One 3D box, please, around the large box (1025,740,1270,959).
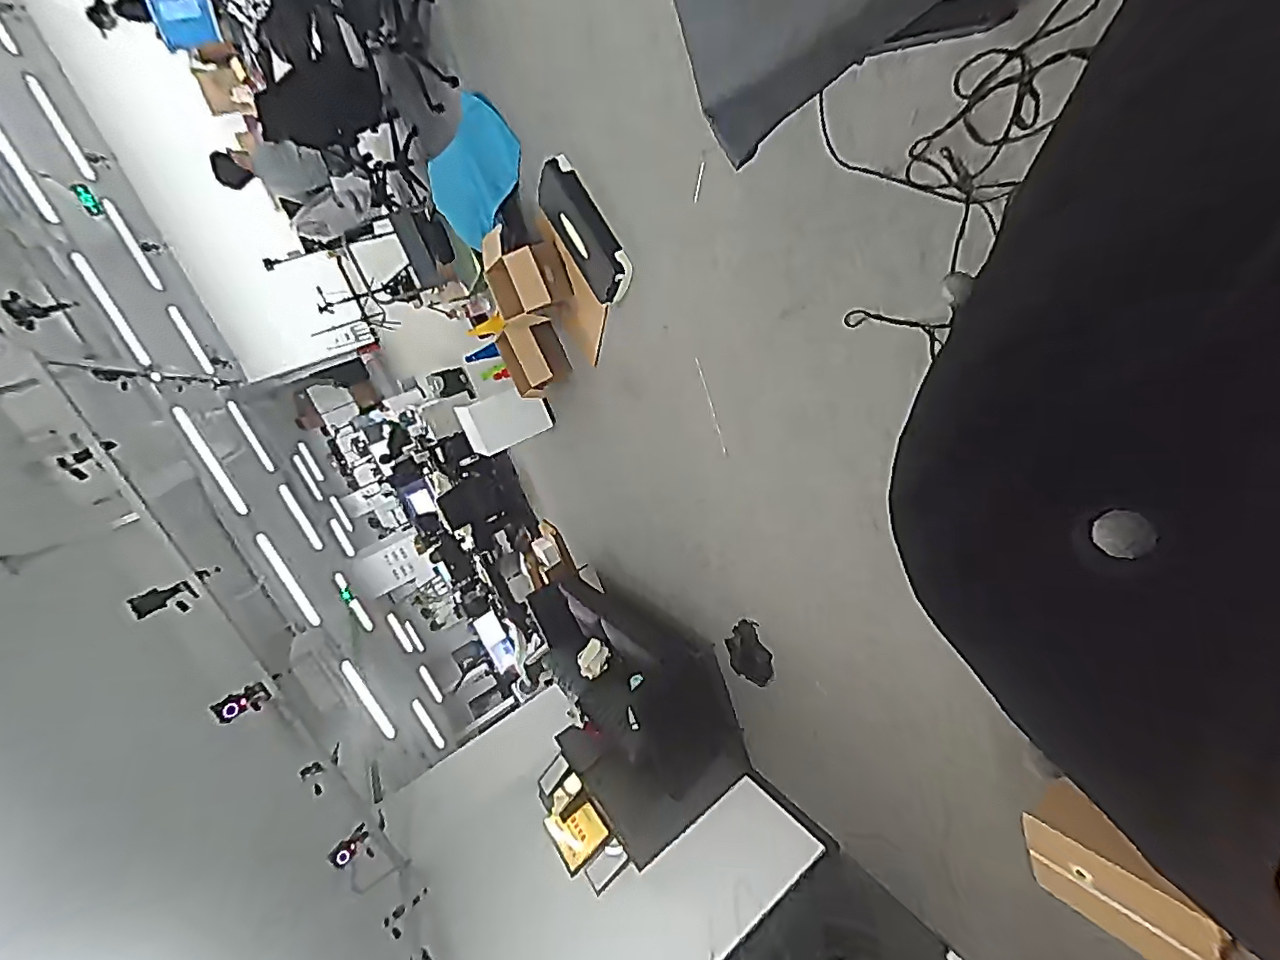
[{"bbox_3d":[1.371,1.015,1.477,0.408,0.320,0.320,15,129,61],"label":"large box"}]
